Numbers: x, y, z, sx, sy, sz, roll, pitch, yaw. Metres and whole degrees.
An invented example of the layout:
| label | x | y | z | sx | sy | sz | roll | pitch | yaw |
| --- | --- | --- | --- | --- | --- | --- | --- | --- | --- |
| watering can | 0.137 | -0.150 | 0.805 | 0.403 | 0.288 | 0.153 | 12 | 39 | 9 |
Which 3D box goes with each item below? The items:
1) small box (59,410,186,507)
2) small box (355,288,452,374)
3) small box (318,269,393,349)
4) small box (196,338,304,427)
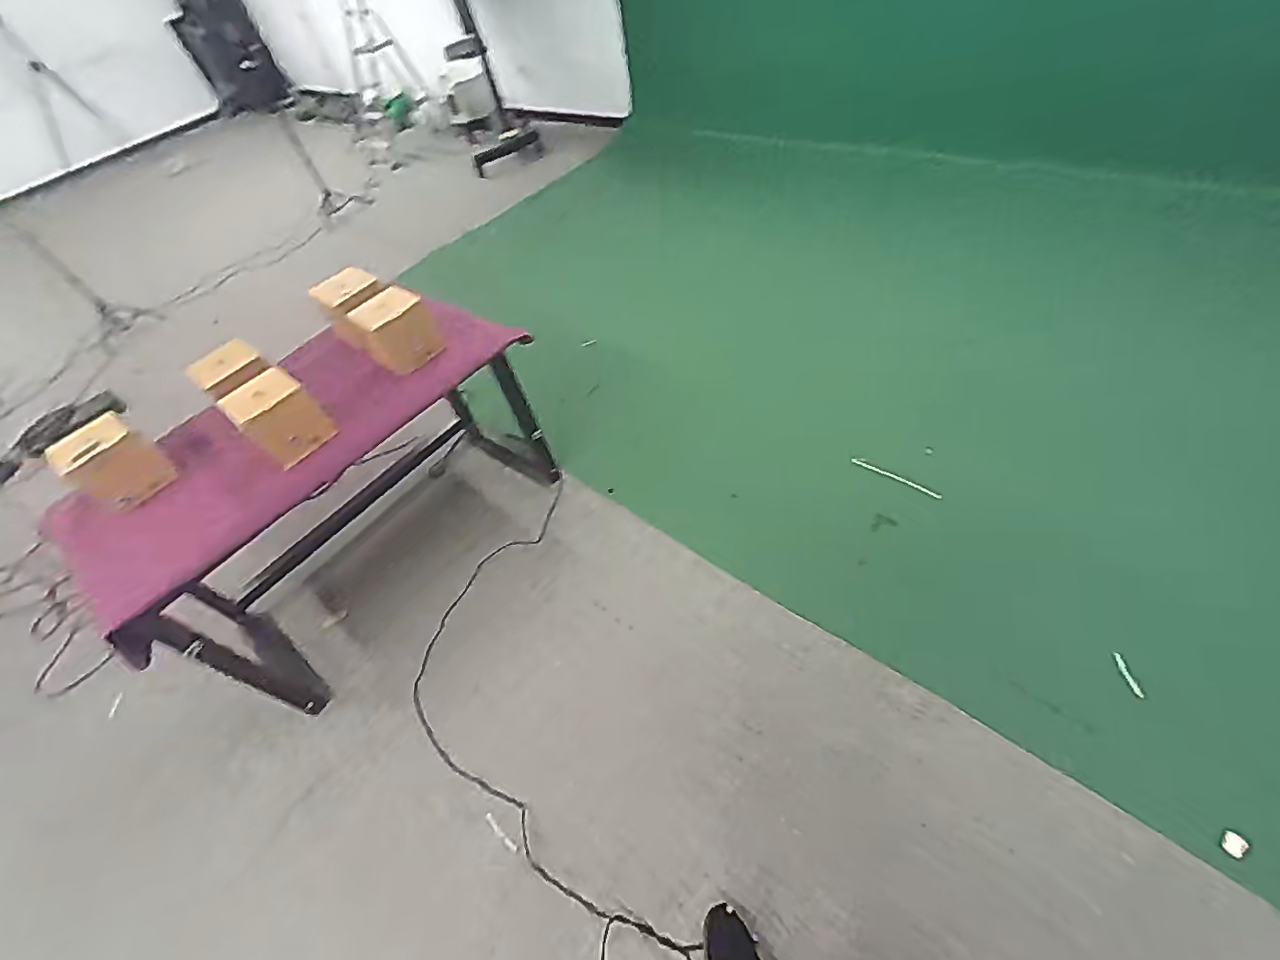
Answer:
| label | x | y | z | sx | sy | sz | roll | pitch | yaw |
| --- | --- | --- | --- | --- | --- | --- | --- | --- | --- |
| small box | -1.376 | -0.053 | 1.449 | 0.179 | 0.176 | 0.168 | 28 | 61 | 31 |
| small box | -0.701 | -0.442 | 1.615 | 0.179 | 0.176 | 0.168 | 30 | 64 | 33 |
| small box | -0.892 | -0.553 | 1.756 | 0.179 | 0.176 | 0.168 | 29 | 63 | 31 |
| small box | -1.142 | -0.284 | 1.592 | 0.179 | 0.176 | 0.168 | 30 | 63 | 31 |
